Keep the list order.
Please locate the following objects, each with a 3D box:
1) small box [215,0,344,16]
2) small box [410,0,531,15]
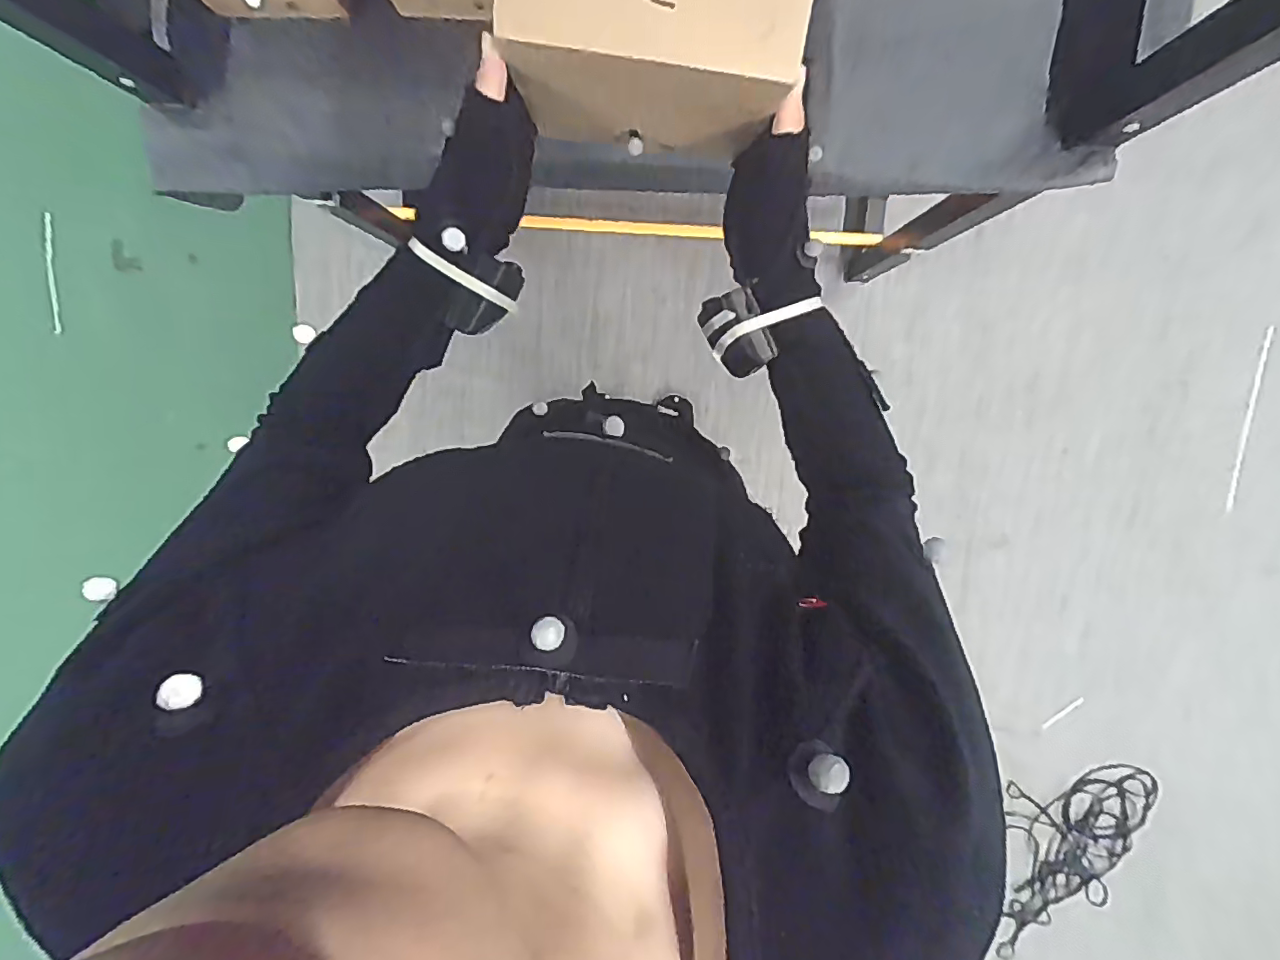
[{"bbox_3d":[-0.434,-0.640,0.562,0.168,0.176,0.179,2,99,1],"label":"small box"},{"bbox_3d":[-0.207,-0.633,0.560,0.168,0.176,0.179,4,99,1],"label":"small box"}]
